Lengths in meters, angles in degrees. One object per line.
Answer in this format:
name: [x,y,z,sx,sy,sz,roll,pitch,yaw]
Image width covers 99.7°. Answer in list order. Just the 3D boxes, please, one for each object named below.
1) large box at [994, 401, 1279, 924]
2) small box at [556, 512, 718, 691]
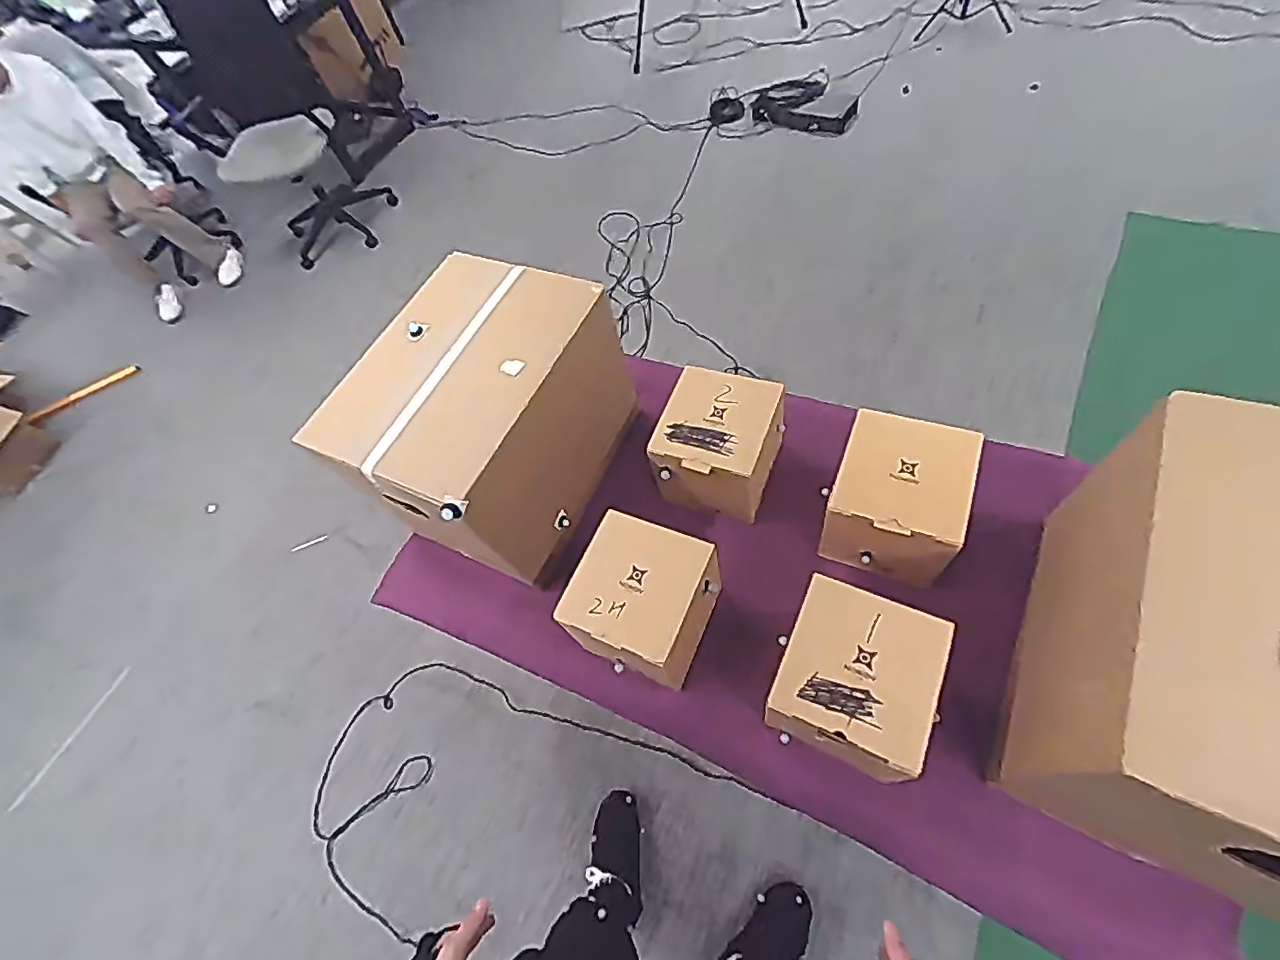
large box: [0.626,0.194,0.563,0.320,0.320,0.408,19,66,23]
small box: [0.008,0.178,0.781,0.168,0.176,0.179,17,64,21]
